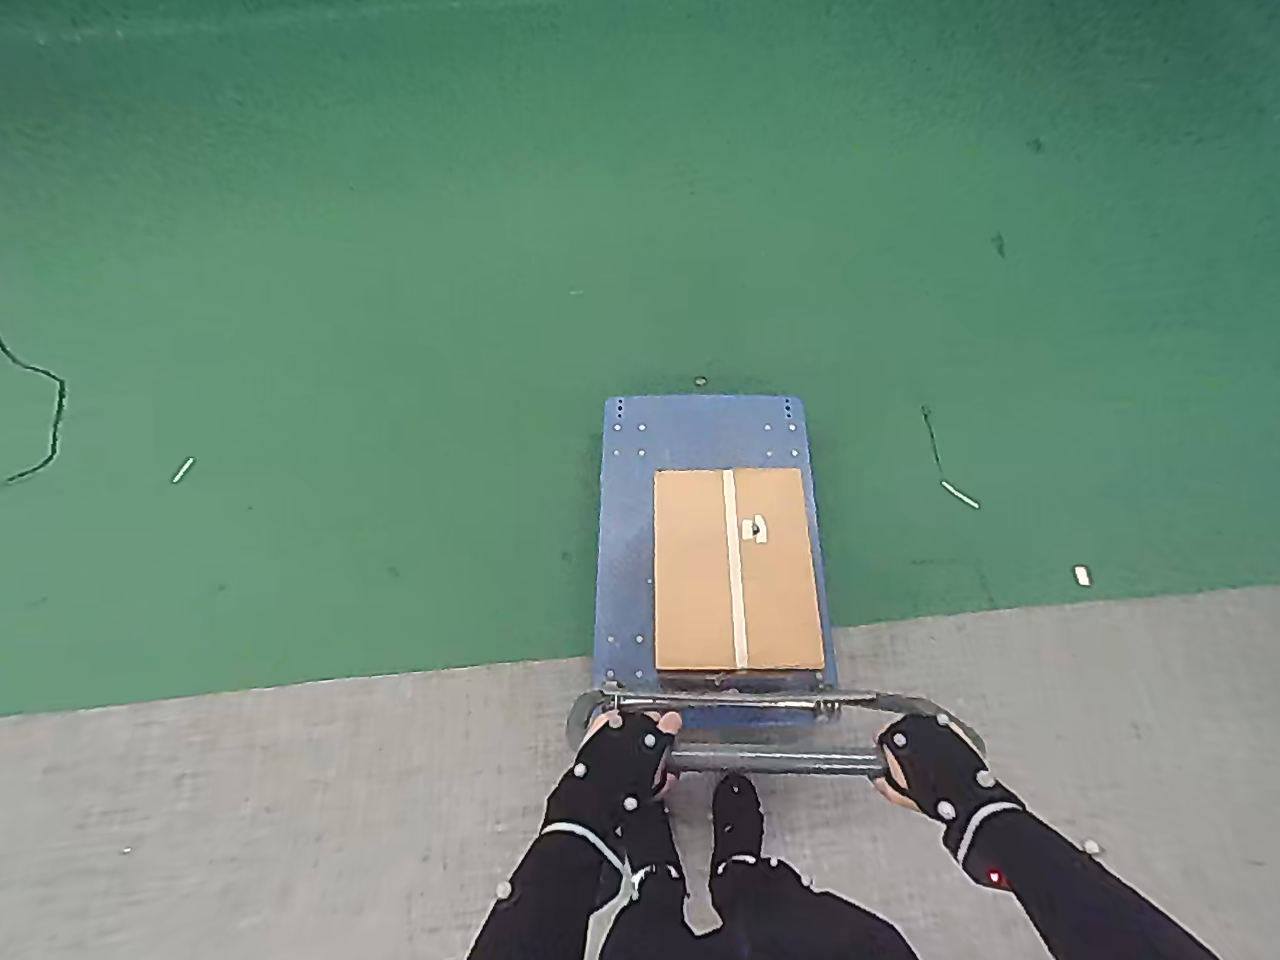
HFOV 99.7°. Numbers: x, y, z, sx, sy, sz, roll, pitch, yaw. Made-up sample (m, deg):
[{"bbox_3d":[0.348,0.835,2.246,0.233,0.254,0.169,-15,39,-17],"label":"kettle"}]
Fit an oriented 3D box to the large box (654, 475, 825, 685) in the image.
[{"bbox_3d":[0.192,0.235,1.209,0.320,0.320,0.408,0,66,1],"label":"large box"}]
